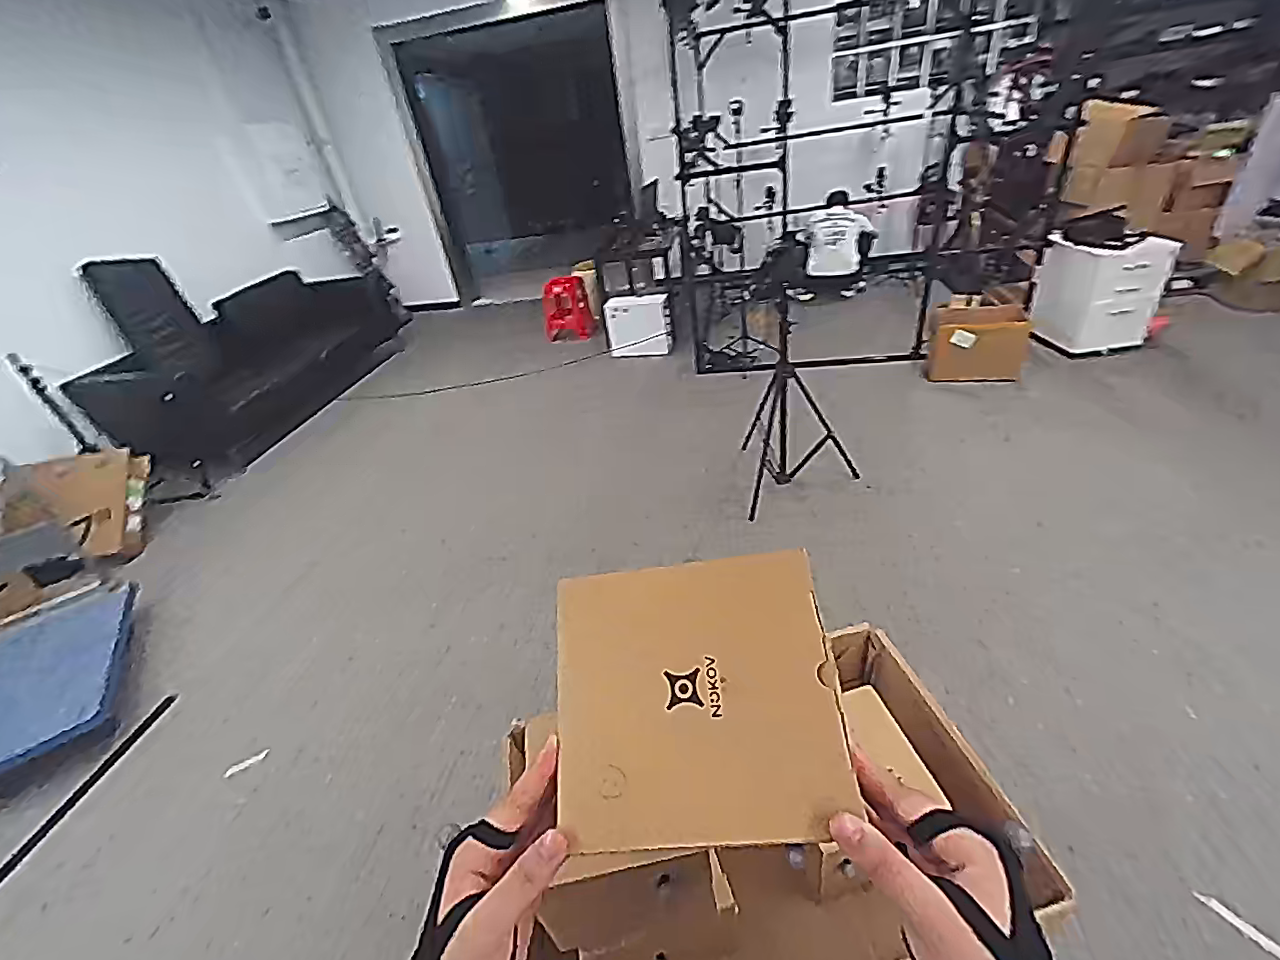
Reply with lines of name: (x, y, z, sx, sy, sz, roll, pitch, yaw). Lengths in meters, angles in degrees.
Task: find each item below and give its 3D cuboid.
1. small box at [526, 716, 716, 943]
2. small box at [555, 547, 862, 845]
small box: (-0.018, 0.370, 0.598, 0.179, 0.176, 0.168, -12, 34, -2)
small box: (0.046, 0.167, 0.407, 0.179, 0.176, 0.168, -9, 60, 7)
